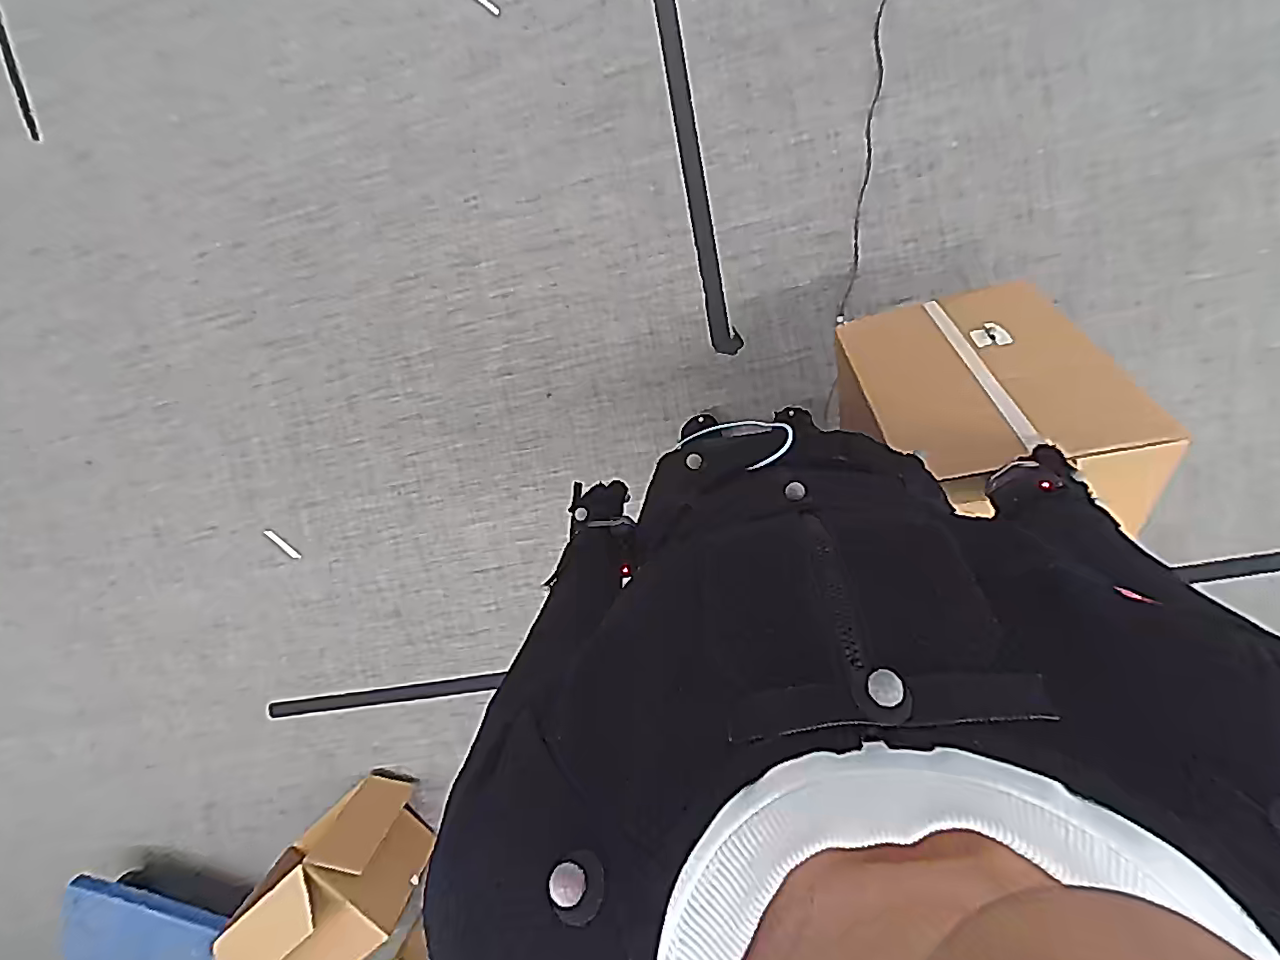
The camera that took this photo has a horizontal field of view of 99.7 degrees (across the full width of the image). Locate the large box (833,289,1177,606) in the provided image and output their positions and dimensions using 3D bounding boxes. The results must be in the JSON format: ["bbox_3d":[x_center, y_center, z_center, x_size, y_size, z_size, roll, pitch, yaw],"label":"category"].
[{"bbox_3d":[0.540,-0.057,0.912,0.320,0.408,0.320,-11,133,11],"label":"large box"}]
